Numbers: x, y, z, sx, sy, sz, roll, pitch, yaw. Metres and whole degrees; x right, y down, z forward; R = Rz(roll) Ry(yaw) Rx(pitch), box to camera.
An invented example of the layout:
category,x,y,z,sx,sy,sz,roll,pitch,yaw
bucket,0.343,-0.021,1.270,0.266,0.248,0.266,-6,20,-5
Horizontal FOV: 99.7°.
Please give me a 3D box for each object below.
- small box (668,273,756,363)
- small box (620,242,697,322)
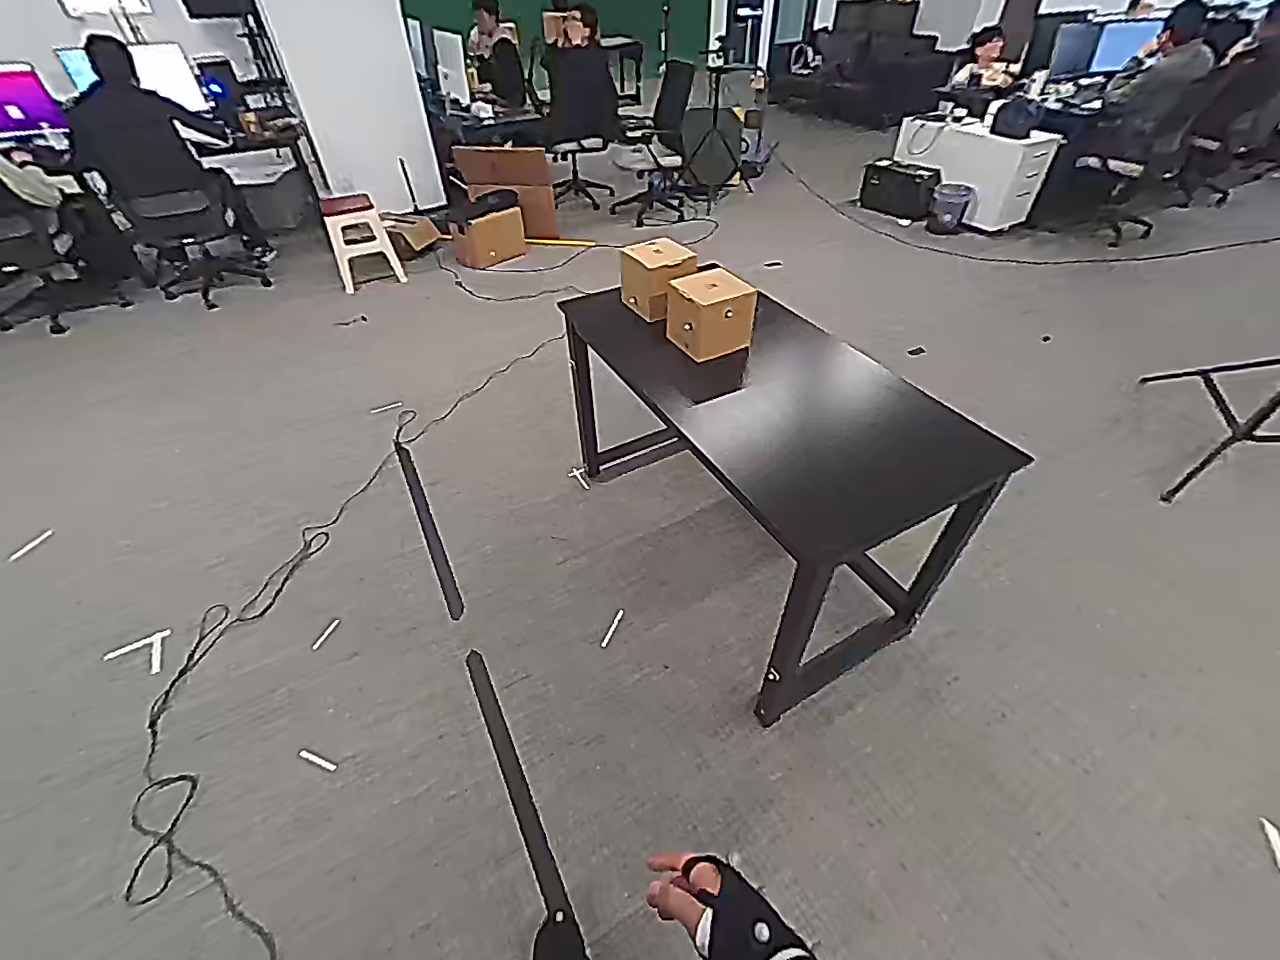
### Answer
category,x,y,z,sx,sy,sz,roll,pitch,yaw
small box,0.190,-0.440,1.479,0.179,0.176,0.168,-21,48,-21
small box,0.054,-0.596,1.641,0.168,0.176,0.179,-23,48,-22
